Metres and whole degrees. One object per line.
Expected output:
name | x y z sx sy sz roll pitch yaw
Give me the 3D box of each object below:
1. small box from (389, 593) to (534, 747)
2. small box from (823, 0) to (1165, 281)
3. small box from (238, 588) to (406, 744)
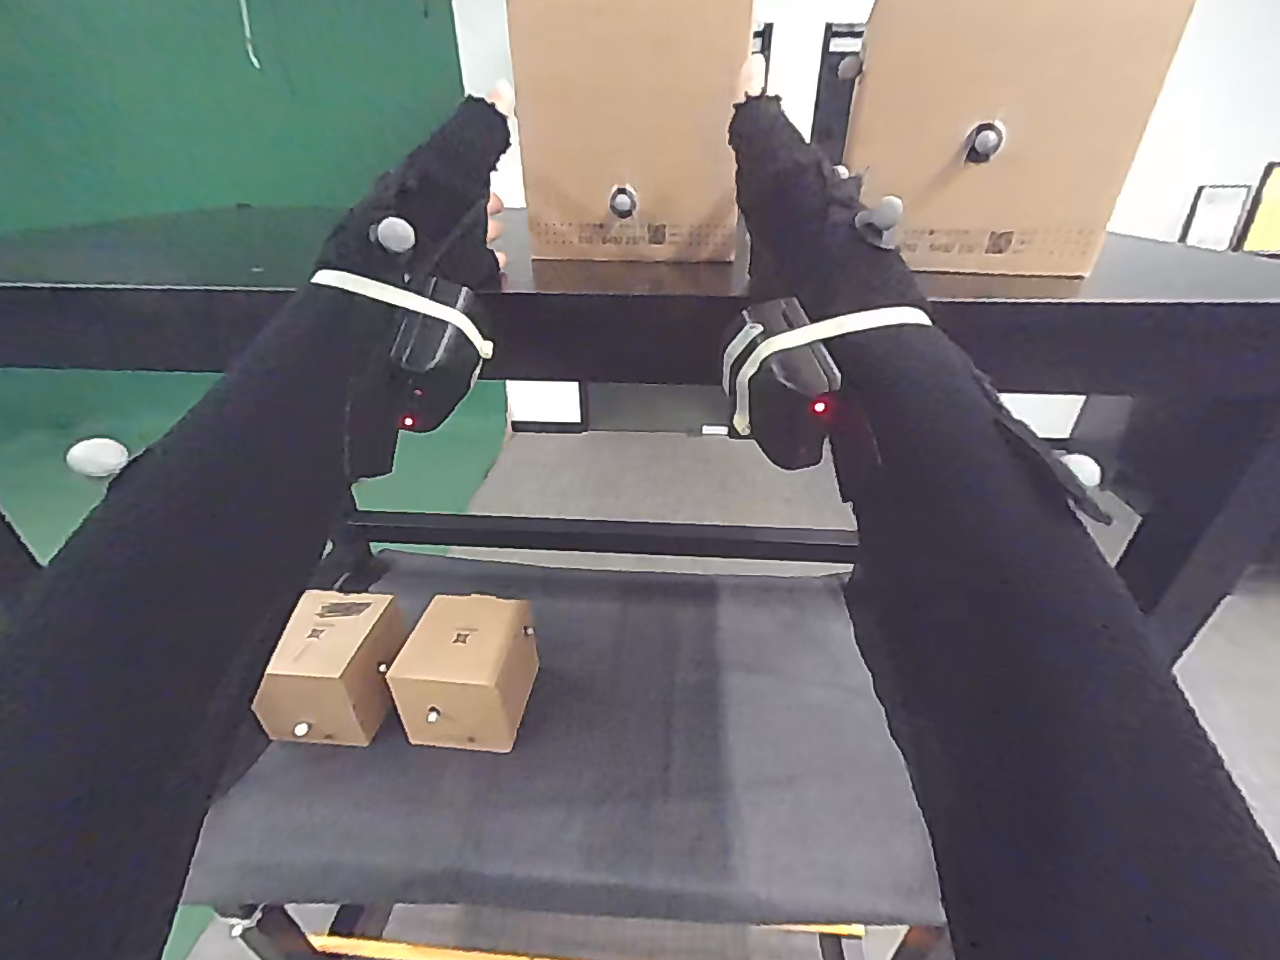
small box | -0.280 0.312 0.896 0.168 0.176 0.179 3 30 4
small box | 0.245 -0.260 0.427 0.168 0.176 0.179 8 31 13
small box | -0.507 0.305 0.902 0.168 0.176 0.179 2 31 3
